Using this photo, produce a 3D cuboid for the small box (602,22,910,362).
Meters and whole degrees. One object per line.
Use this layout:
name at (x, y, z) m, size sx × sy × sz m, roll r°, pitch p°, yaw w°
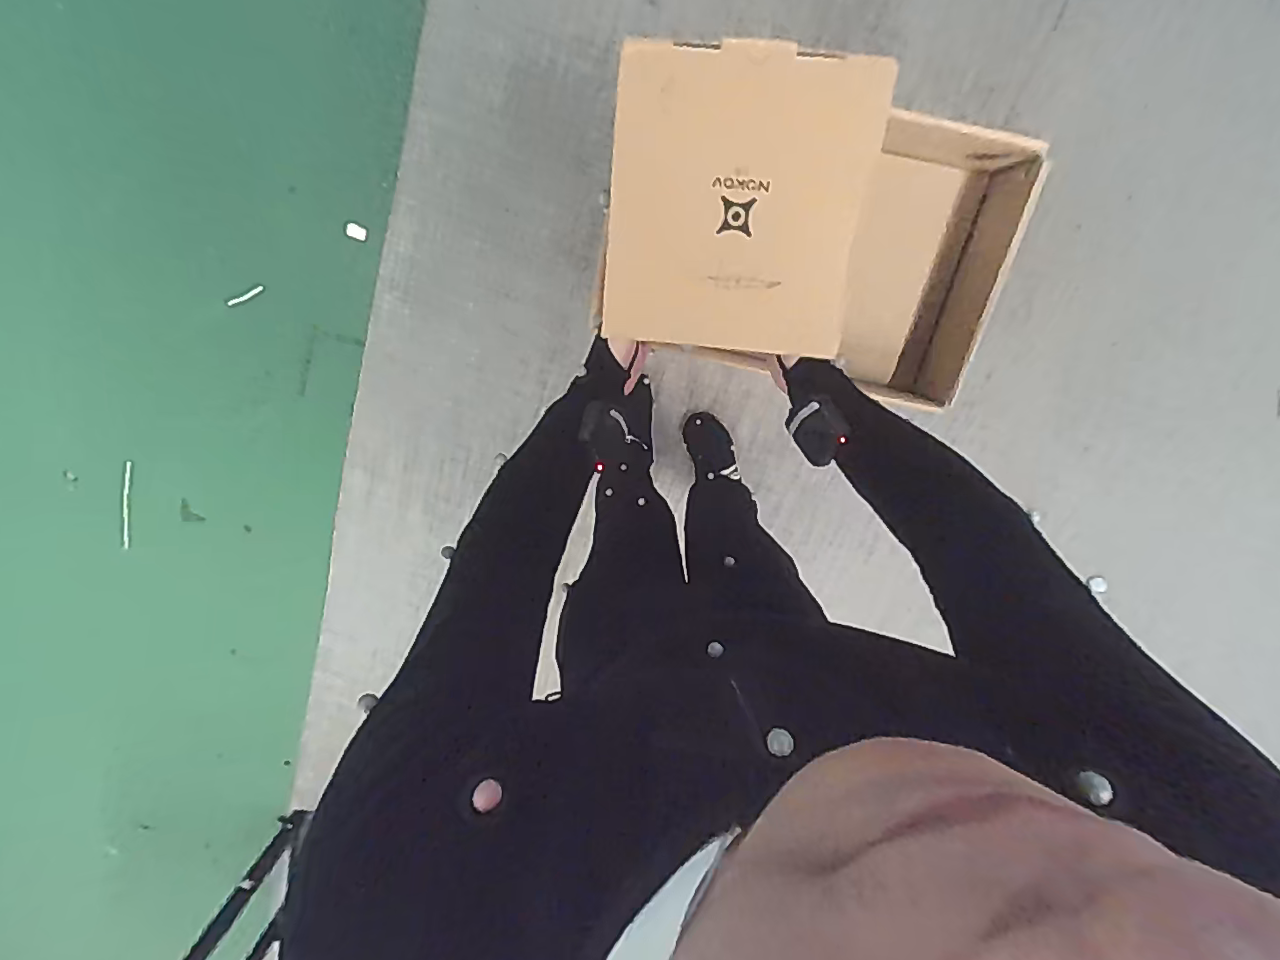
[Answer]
small box at (0.068, -0.194, 0.406) m, size 0.168 × 0.176 × 0.179 m, roll 6°, pitch 110°, yaw 2°
